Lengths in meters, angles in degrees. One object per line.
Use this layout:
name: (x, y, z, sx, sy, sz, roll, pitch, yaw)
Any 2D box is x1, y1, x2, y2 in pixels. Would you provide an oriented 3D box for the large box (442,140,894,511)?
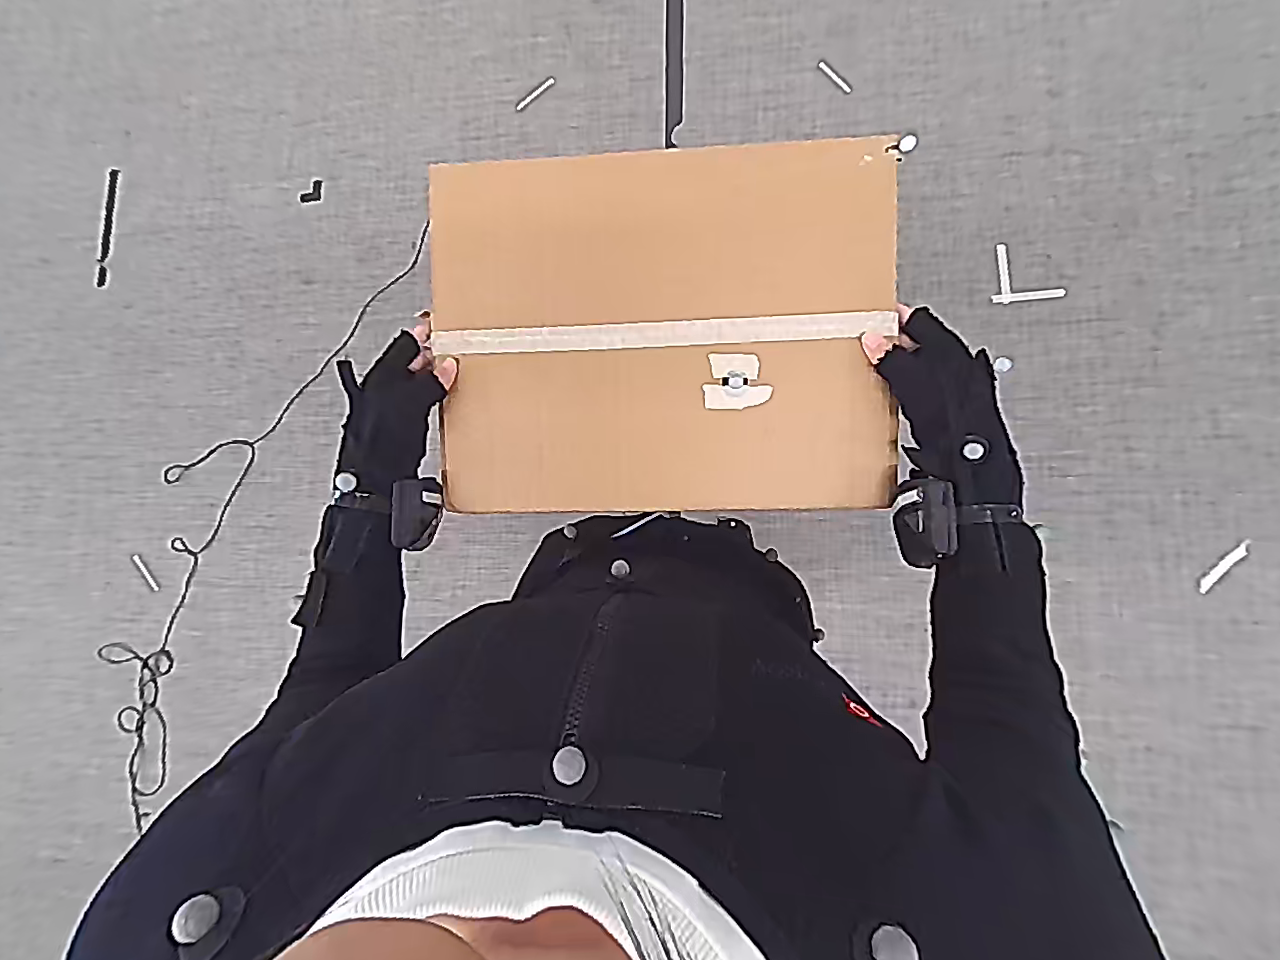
large box: (0.031, -0.140, 0.635, 0.408, 0.320, 0.320, -2, 94, 4)
